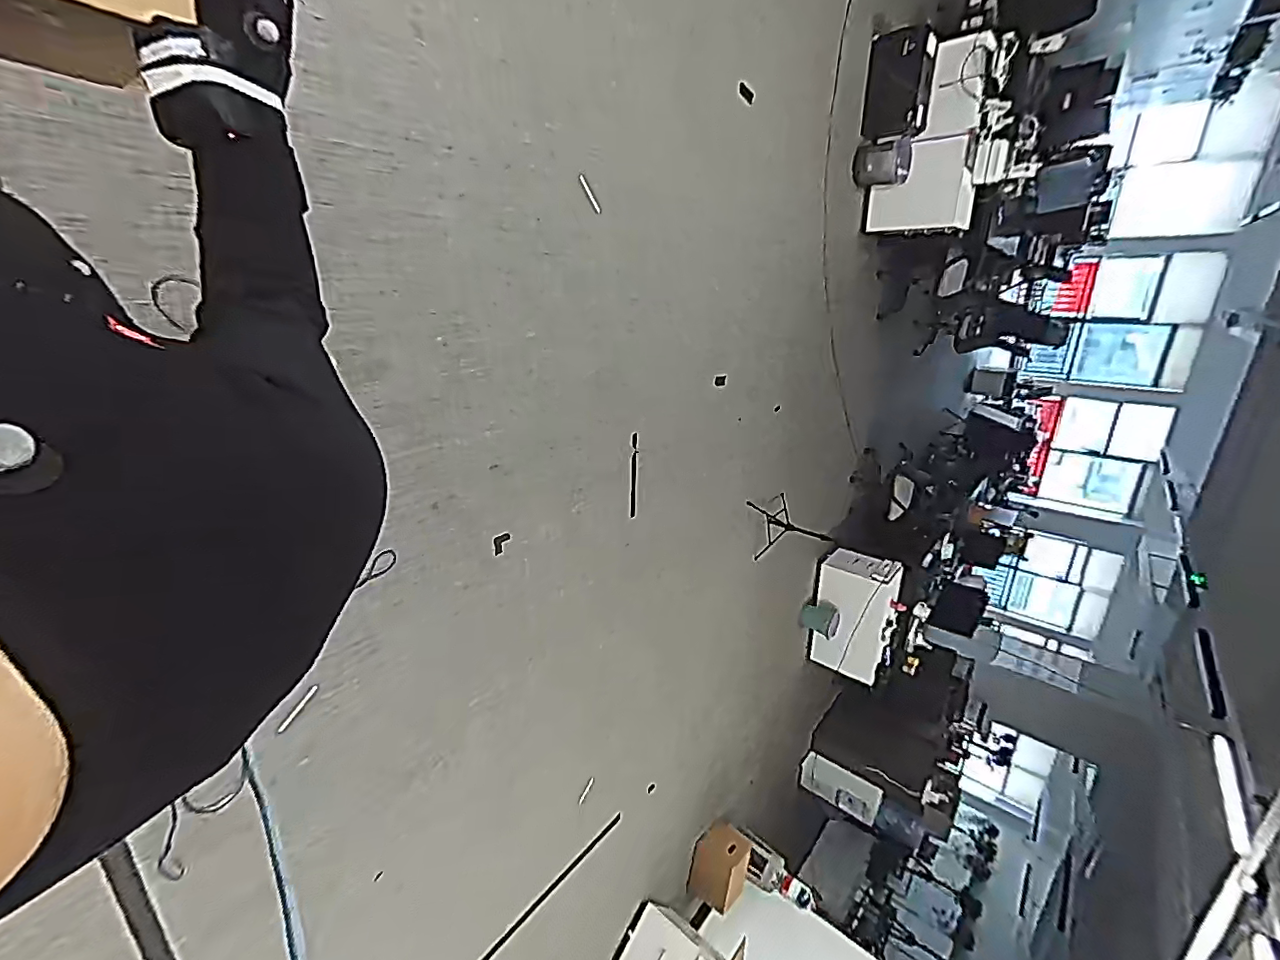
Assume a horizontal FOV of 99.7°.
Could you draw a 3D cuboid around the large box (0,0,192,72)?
[{"bbox_3d":[-0.538,-0.467,0.269,0.408,0.320,0.320,-16,122,-48],"label":"large box"}]
